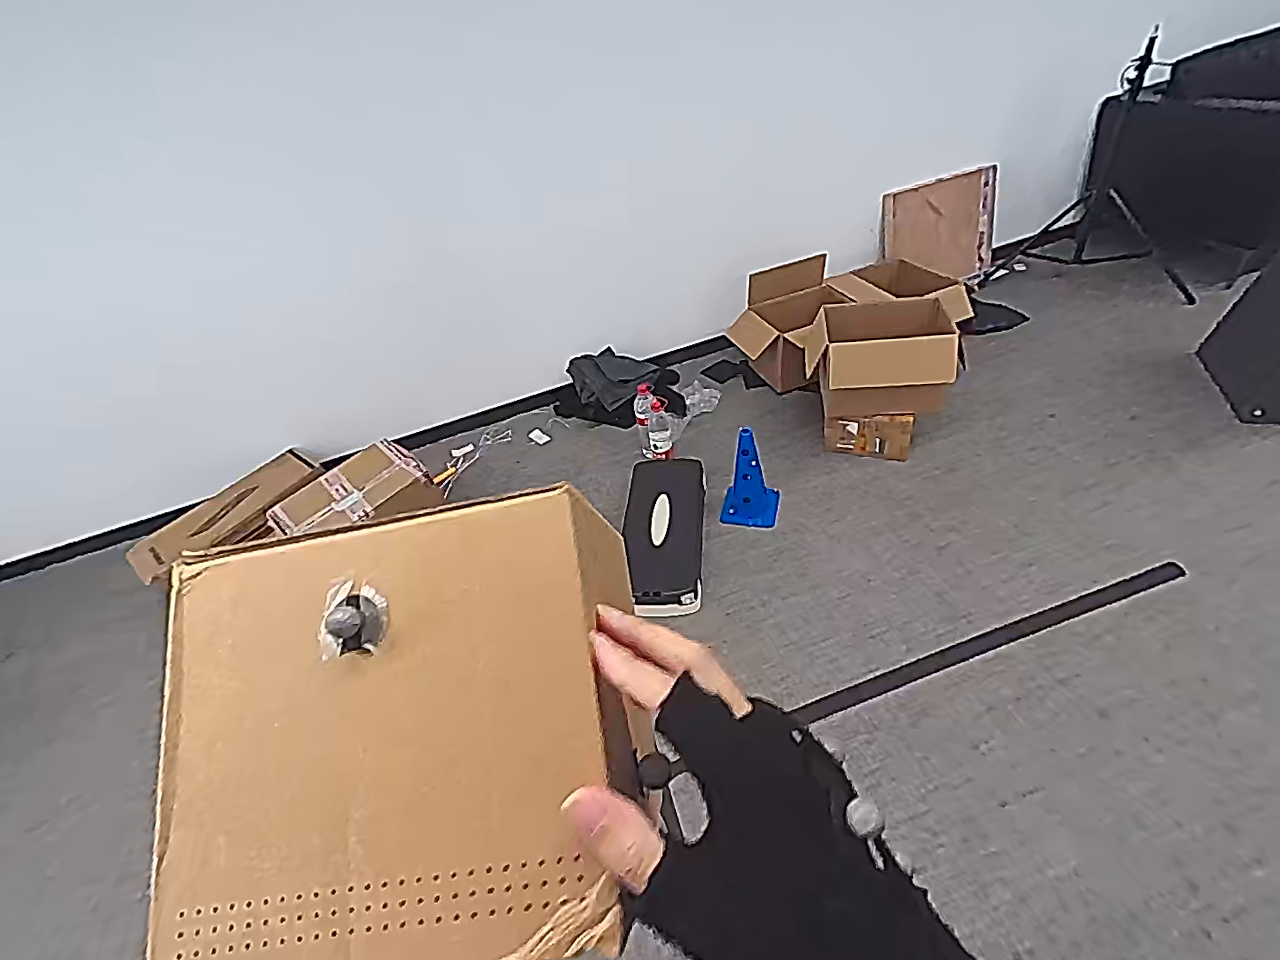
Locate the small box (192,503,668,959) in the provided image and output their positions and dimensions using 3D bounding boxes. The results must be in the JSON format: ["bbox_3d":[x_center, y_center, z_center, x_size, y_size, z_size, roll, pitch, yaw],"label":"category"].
[{"bbox_3d":[-0.090,0.122,0.287,0.179,0.168,0.176,-10,76,6],"label":"small box"}]
